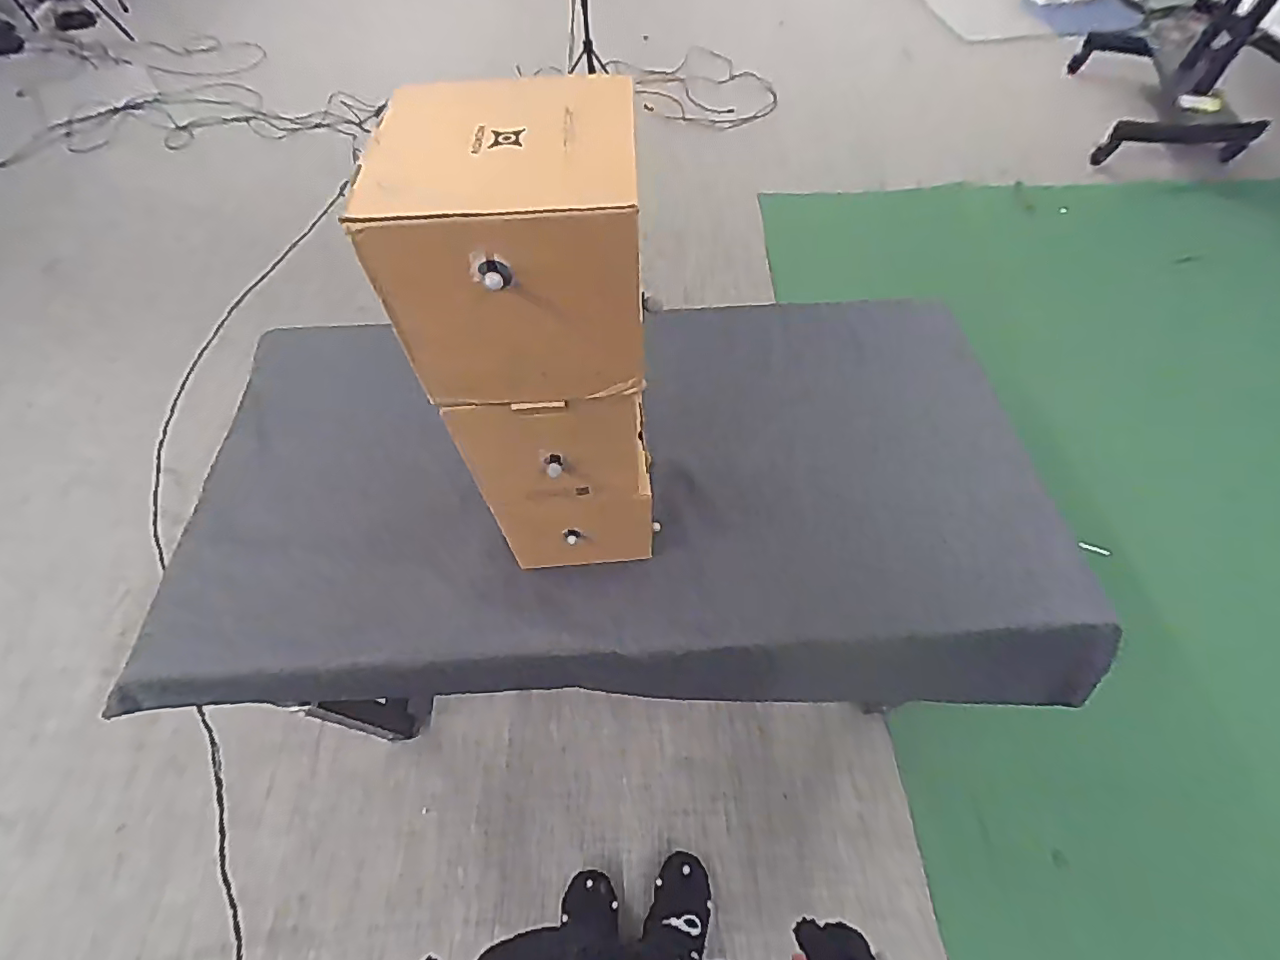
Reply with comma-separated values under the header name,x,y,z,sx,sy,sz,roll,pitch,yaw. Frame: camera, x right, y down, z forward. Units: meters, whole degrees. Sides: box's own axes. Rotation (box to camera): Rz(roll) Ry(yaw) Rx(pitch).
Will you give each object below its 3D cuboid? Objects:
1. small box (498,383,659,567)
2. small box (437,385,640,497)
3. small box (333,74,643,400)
name,x,y,z,sx,sy,sz,roll,pitch,yaw
small box,-0.076,-0.001,0.689,0.179,0.176,0.168,-7,58,-4
small box,-0.089,-0.092,0.554,0.168,0.176,0.179,-5,58,-1
small box,-0.088,-0.175,0.413,0.179,0.176,0.168,-2,59,-1
